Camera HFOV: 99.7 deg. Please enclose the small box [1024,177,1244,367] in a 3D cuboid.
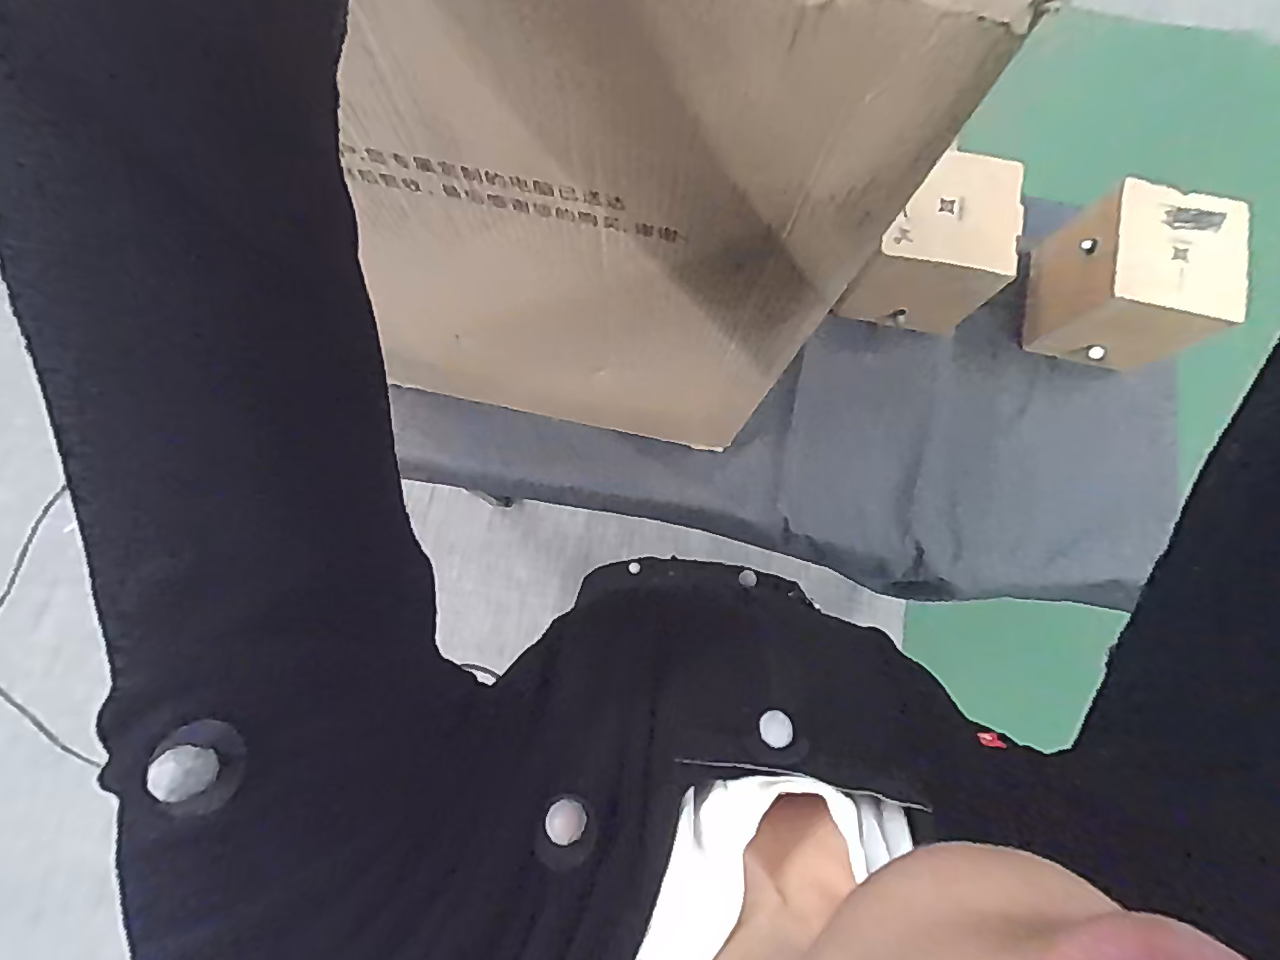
[{"bbox_3d":[0.693,-0.287,0.776,0.168,0.176,0.179,13,80,1],"label":"small box"}]
